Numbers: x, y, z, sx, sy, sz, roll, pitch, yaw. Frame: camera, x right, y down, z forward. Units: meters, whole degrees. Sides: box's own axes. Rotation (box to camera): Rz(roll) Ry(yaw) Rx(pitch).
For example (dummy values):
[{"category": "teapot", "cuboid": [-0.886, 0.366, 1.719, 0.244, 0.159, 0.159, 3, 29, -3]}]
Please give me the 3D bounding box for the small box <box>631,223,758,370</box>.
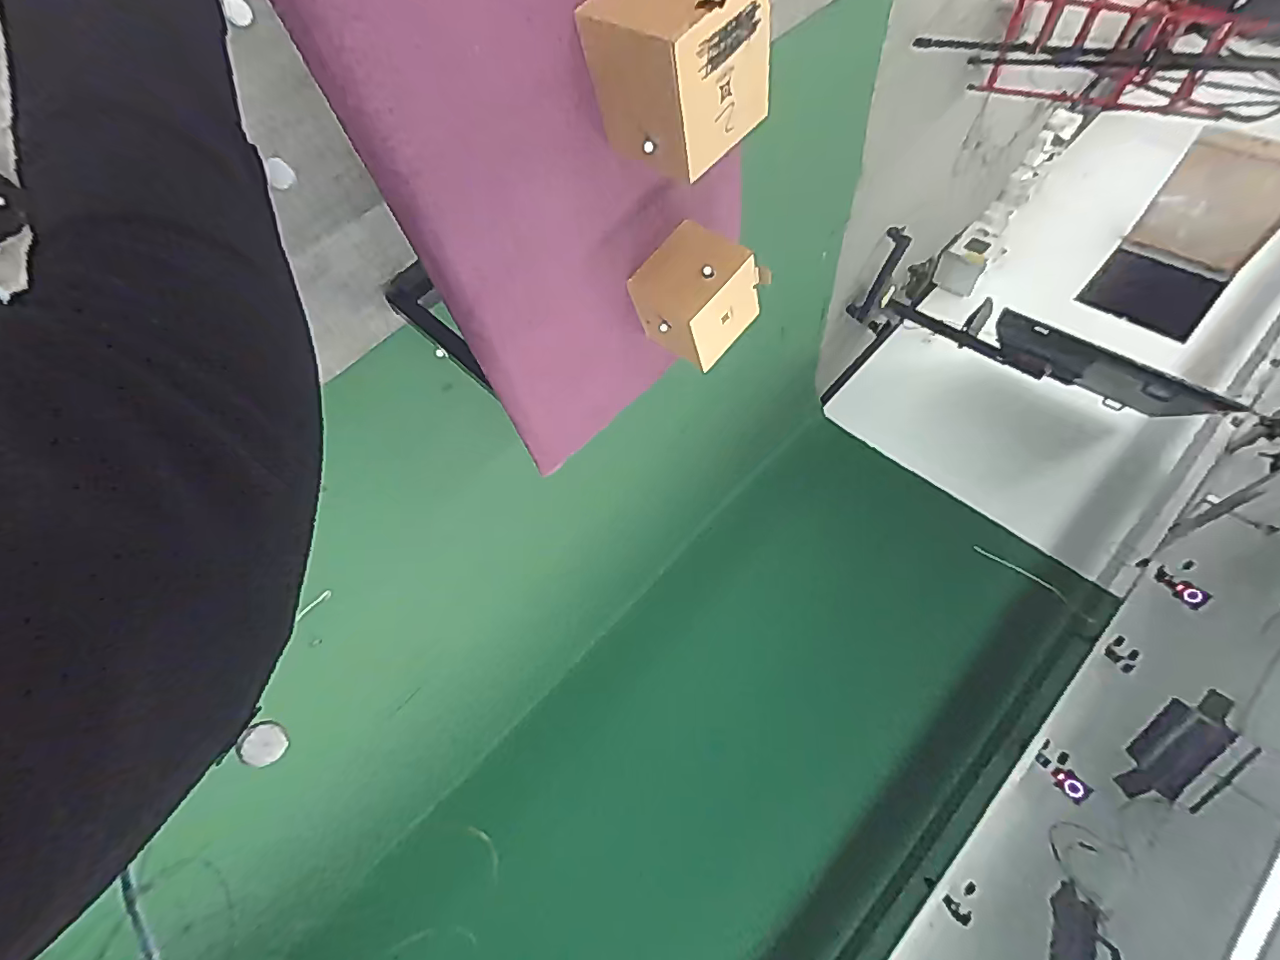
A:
[{"category": "small box", "cuboid": [0.102, -0.354, 1.045, 0.179, 0.176, 0.168, -49, 154, -6]}]
